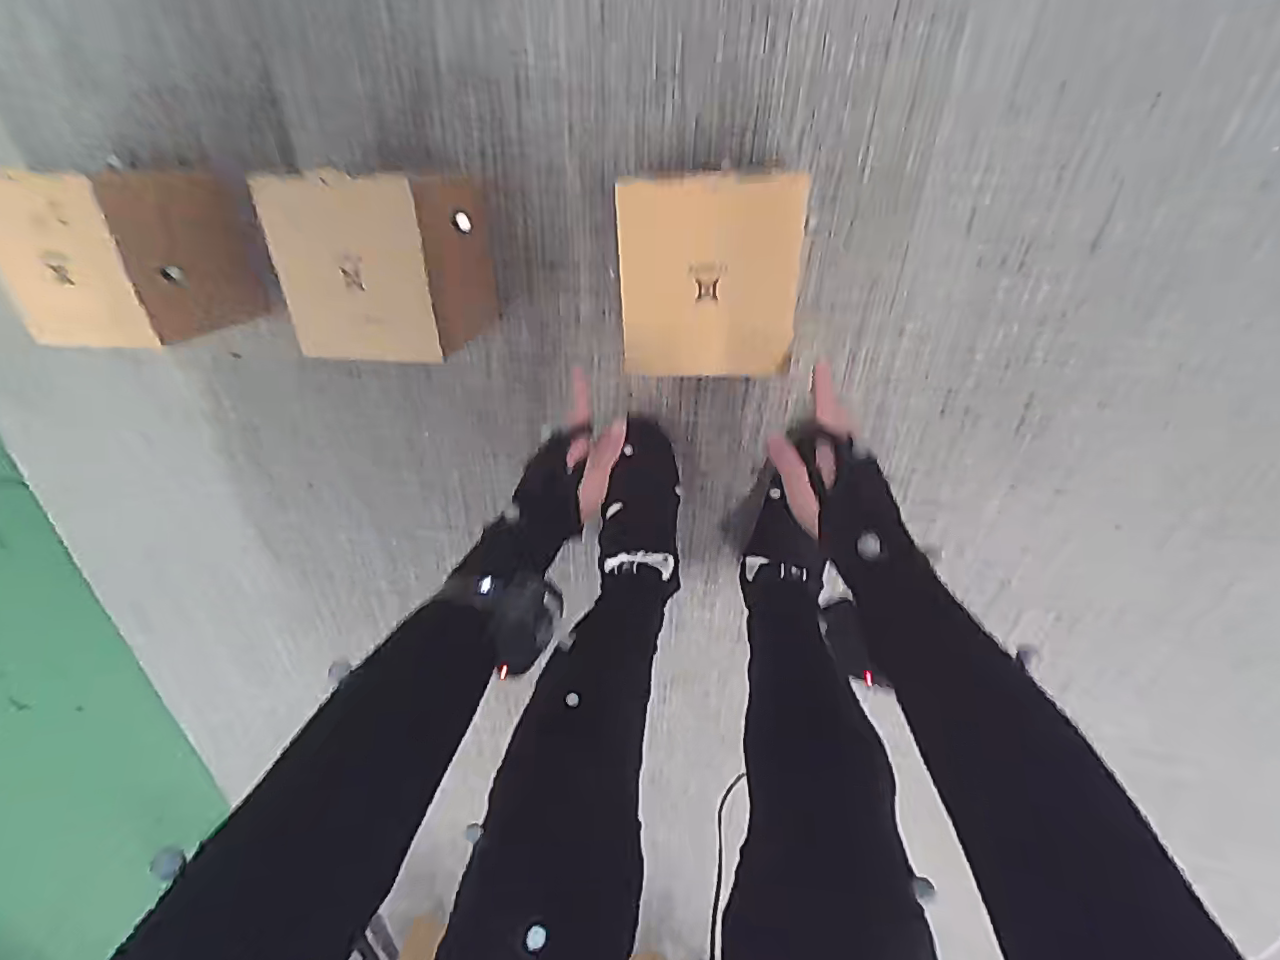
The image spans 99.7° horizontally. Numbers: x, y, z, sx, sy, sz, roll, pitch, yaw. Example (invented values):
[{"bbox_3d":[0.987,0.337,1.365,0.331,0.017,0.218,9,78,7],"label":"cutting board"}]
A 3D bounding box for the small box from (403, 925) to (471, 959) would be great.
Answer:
[{"bbox_3d":[-0.627,1.497,1.644,0.179,0.176,0.168,7,120,5],"label":"small box"}]

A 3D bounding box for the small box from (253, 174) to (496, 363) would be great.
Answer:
[{"bbox_3d":[-0.277,-0.244,0.611,0.168,0.176,0.179,4,120,7],"label":"small box"}]

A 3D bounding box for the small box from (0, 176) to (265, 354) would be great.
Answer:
[{"bbox_3d":[-0.601,-0.264,0.651,0.168,0.176,0.179,4,119,7],"label":"small box"}]

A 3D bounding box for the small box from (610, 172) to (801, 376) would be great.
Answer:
[{"bbox_3d":[0.070,-0.219,0.567,0.168,0.176,0.179,1,118,9],"label":"small box"}]
